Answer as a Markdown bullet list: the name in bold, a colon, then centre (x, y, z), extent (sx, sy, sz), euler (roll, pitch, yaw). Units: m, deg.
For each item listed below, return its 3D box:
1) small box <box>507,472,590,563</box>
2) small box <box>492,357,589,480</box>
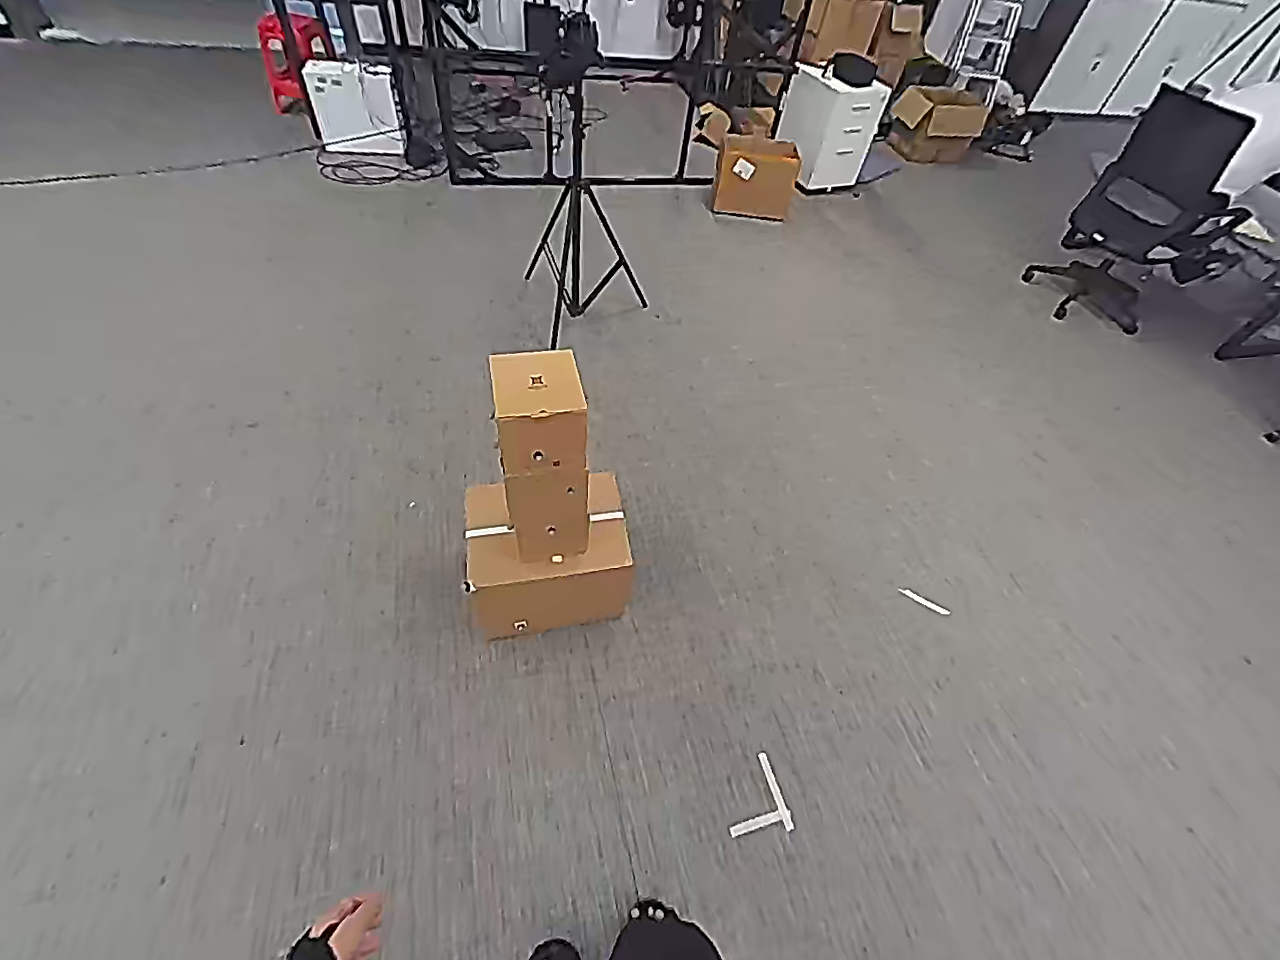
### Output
- **small box**: centre (-0.225, 0.088, 1.331), extent (0.179, 0.176, 0.168), euler (-8, 54, -15)
- **small box**: centre (-0.201, -0.123, 1.082), extent (0.168, 0.176, 0.179), euler (-8, 54, -14)
